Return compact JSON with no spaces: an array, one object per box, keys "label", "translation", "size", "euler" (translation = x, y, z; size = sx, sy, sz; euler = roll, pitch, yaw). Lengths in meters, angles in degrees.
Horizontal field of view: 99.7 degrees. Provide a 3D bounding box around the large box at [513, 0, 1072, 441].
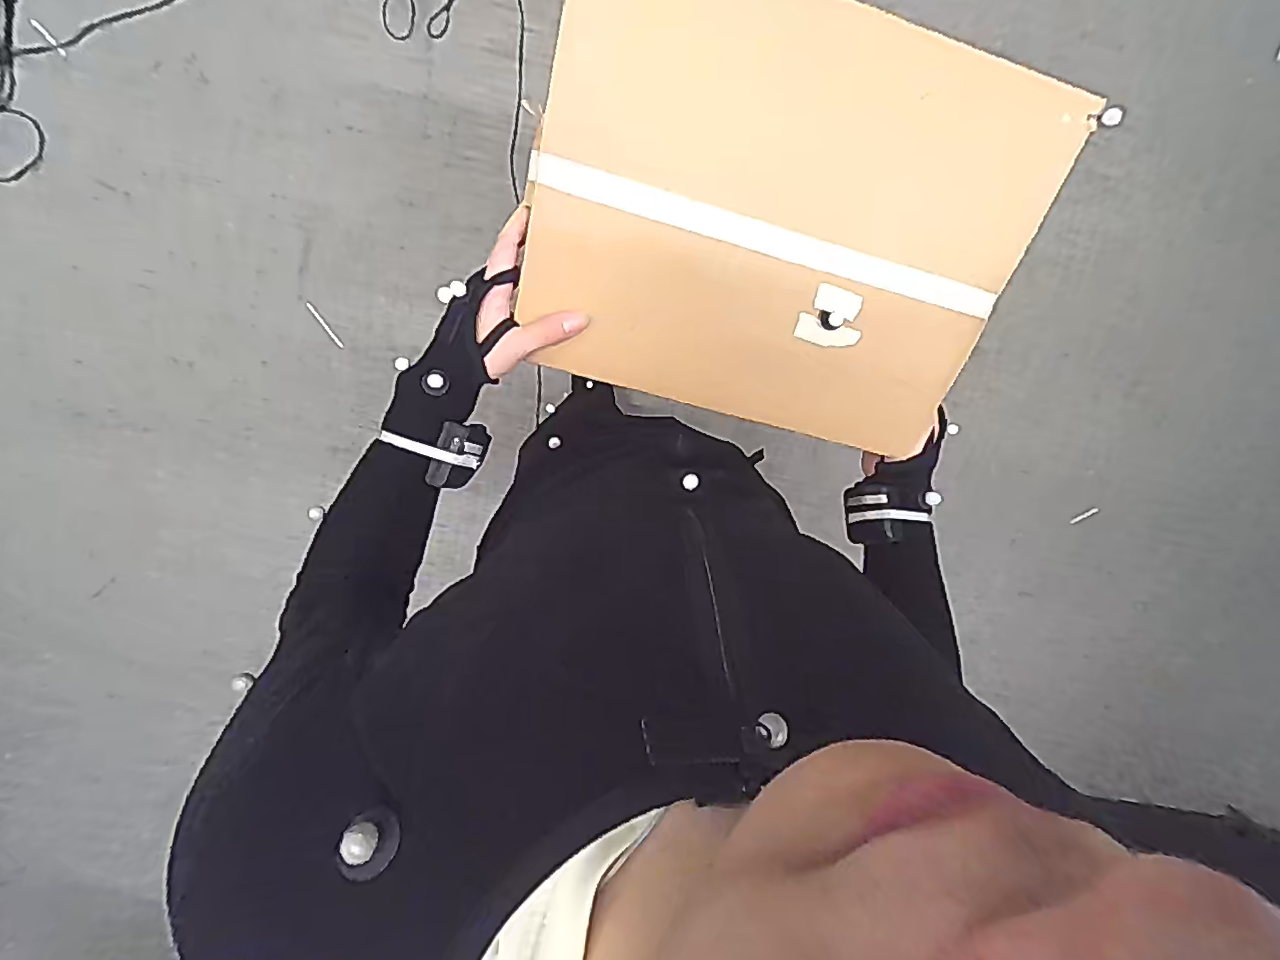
[{"label":"large box","translation":[0.103,-0.276,0.589],"size":[0.408,0.320,0.320],"euler":[12,117,-8]}]
